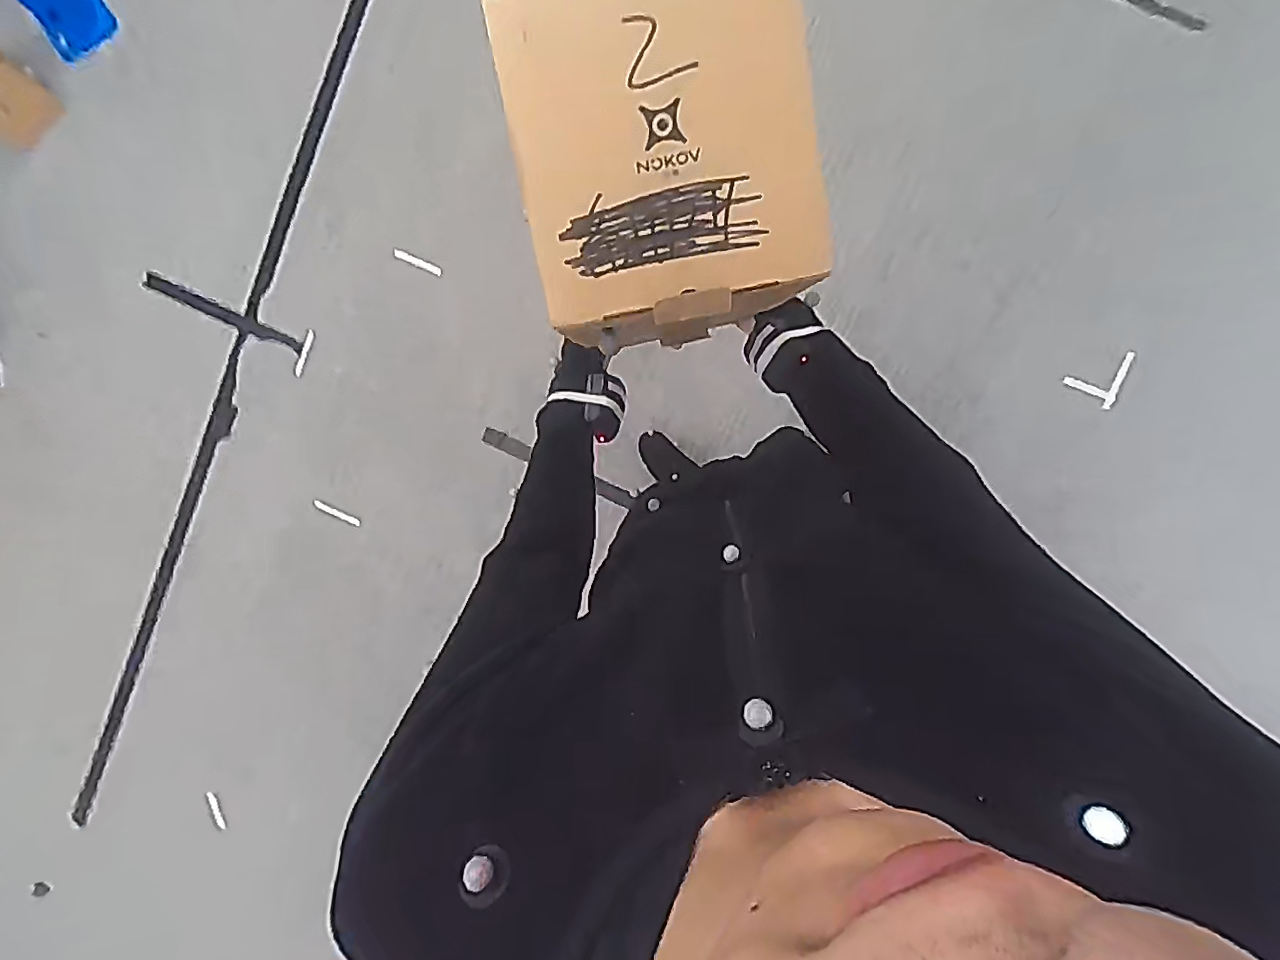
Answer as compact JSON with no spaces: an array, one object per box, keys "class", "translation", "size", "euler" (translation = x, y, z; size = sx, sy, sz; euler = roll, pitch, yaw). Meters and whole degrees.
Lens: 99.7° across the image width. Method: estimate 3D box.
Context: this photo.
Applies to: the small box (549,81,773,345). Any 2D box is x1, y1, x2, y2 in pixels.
[{"class":"small box","translation":[0.019,-0.239,0.531],"size":[0.168,0.176,0.179],"euler":[-11,101,3]}]
